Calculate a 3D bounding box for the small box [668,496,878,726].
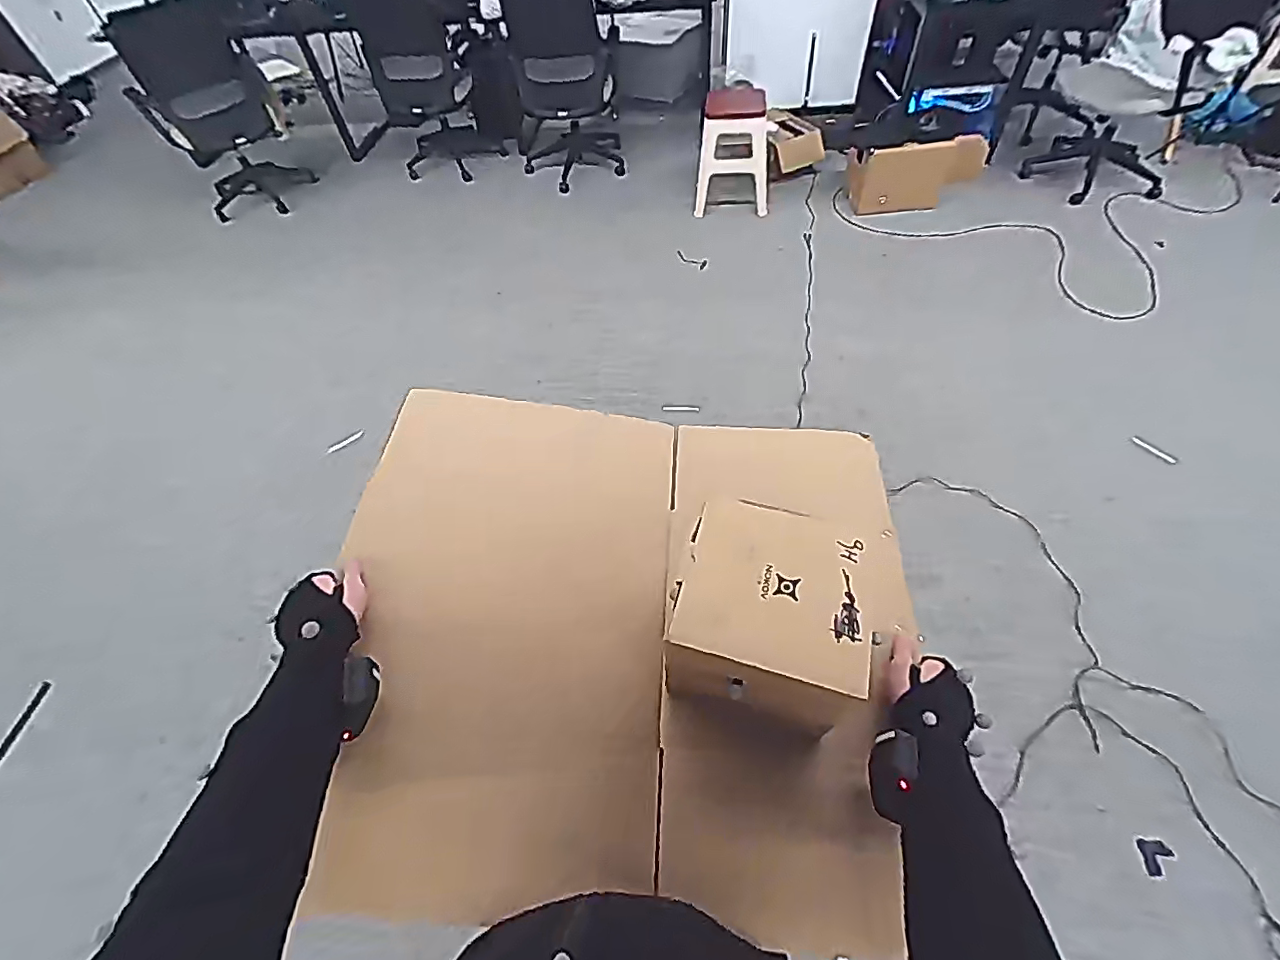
[{"bbox_3d":[0.136,0.145,0.579,0.179,0.176,0.168,13,57,13],"label":"small box"}]
